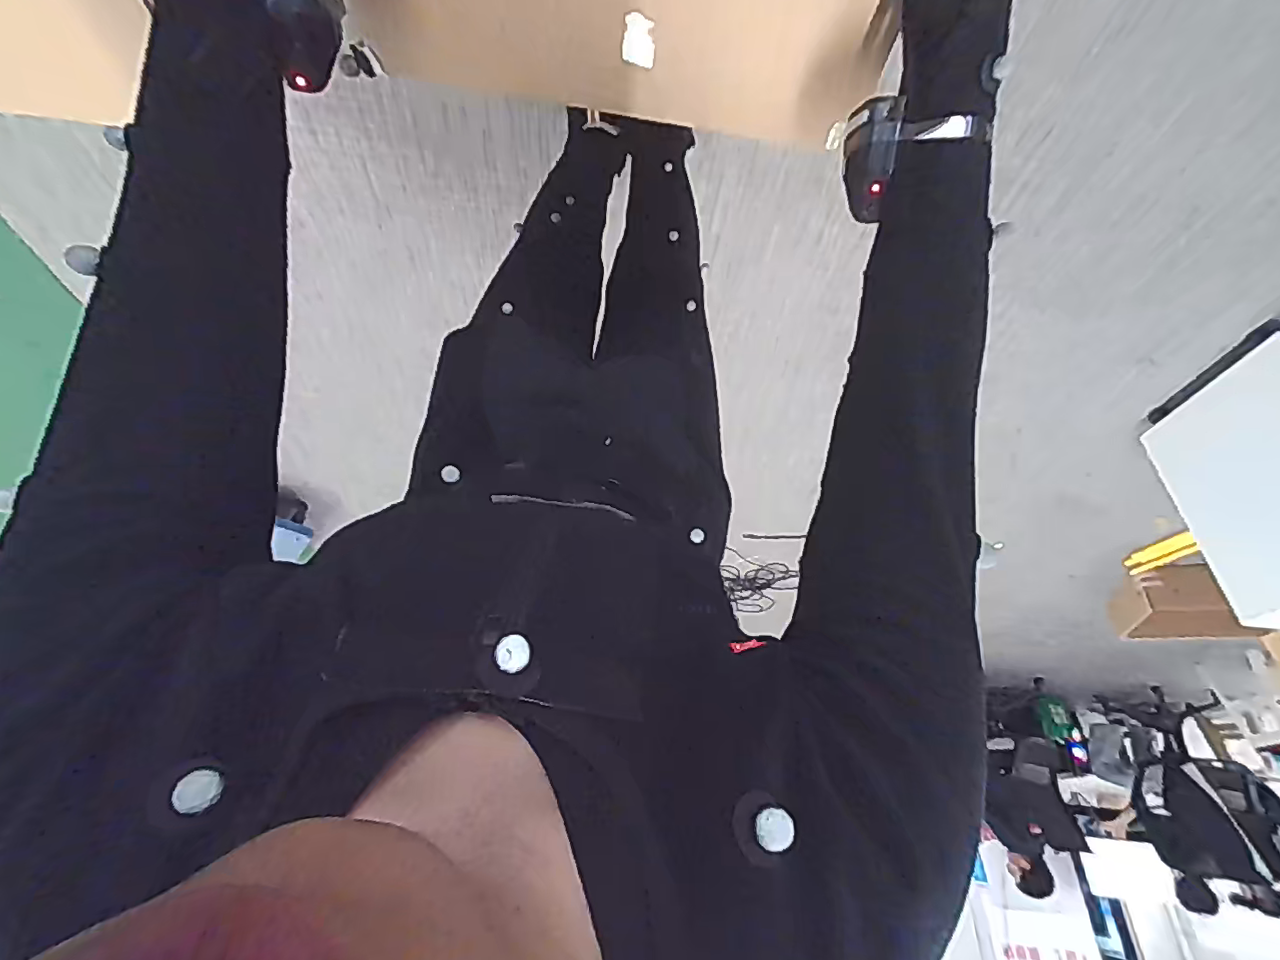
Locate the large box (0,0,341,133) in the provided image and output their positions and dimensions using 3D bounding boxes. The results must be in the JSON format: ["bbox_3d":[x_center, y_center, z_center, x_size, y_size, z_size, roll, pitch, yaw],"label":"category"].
[{"bbox_3d":[-0.558,-0.558,0.455,0.408,0.320,0.320,9,149,-1],"label":"large box"}]
